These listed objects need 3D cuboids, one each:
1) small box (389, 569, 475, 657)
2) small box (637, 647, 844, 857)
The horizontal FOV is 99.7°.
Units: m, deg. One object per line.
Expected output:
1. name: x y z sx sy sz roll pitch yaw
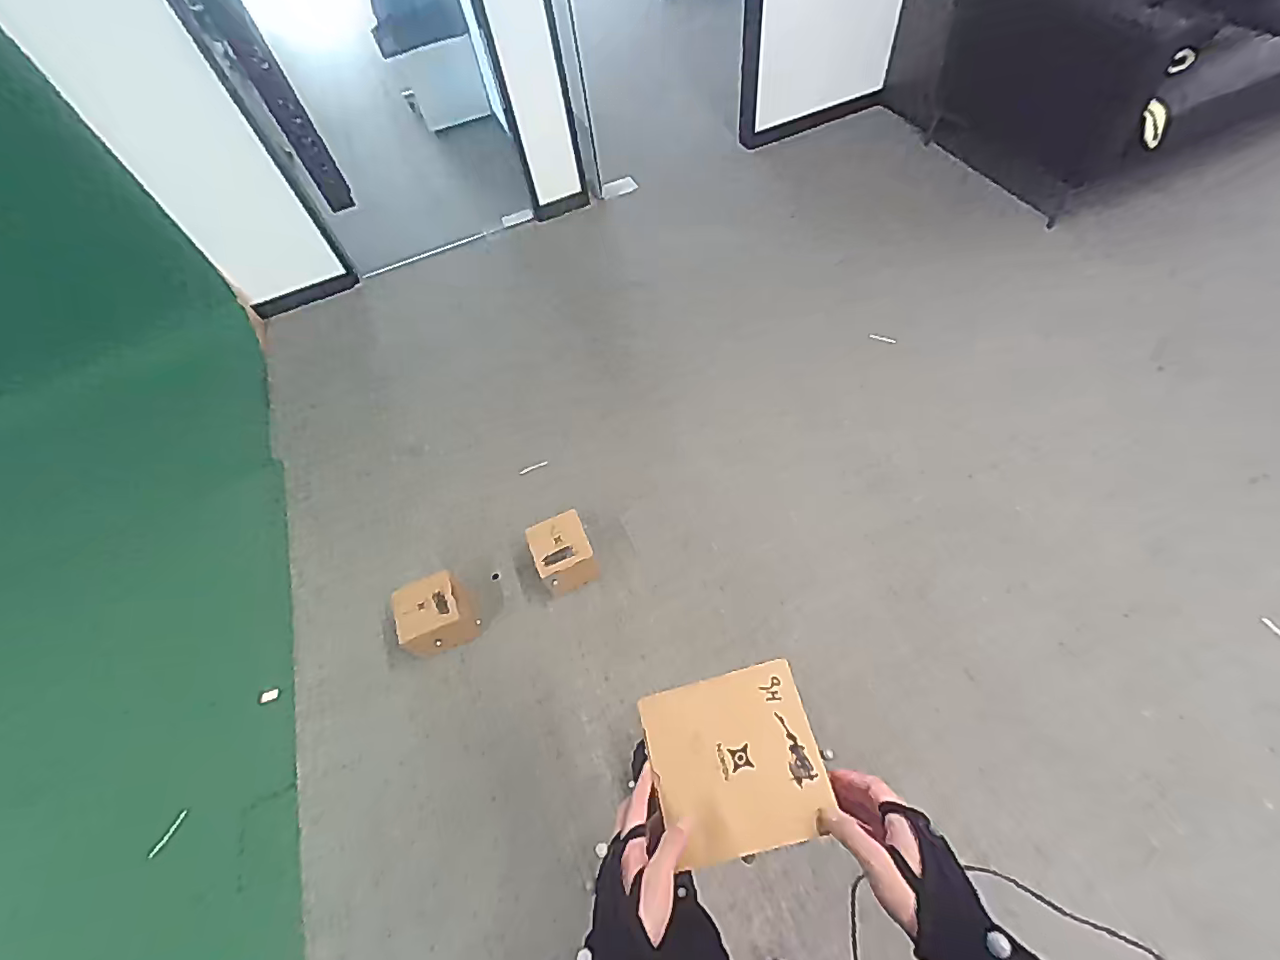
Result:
1. small box: -0.595 0.390 1.569 0.179 0.176 0.168 -22 57 -6
2. small box: 0.113 0.310 0.618 0.179 0.176 0.168 -17 59 5
